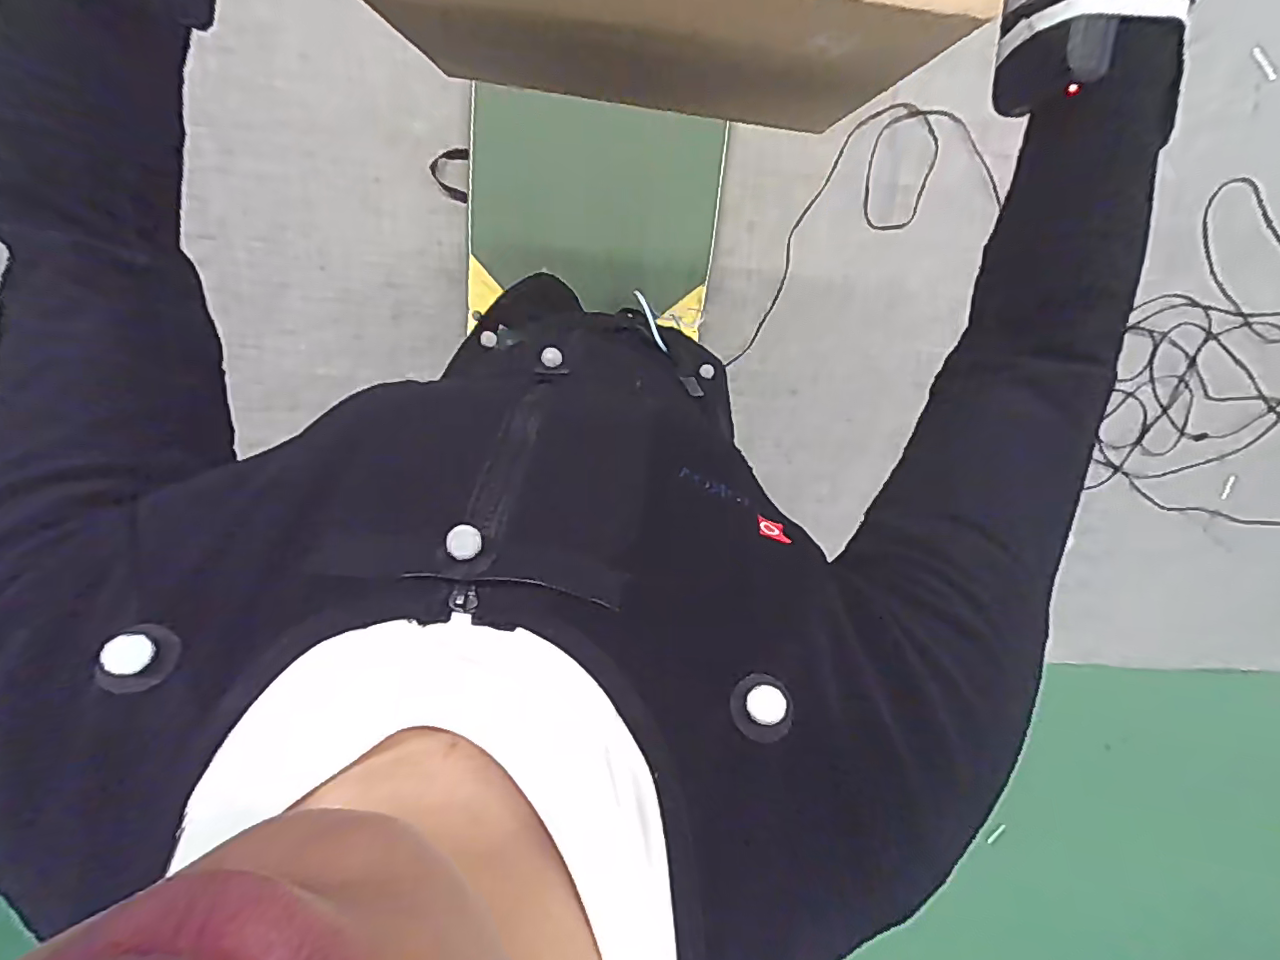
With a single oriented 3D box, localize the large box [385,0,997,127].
[{"bbox_3d":[0.022,-0.481,0.379,0.408,0.320,0.320,6,113,-3],"label":"large box"}]
